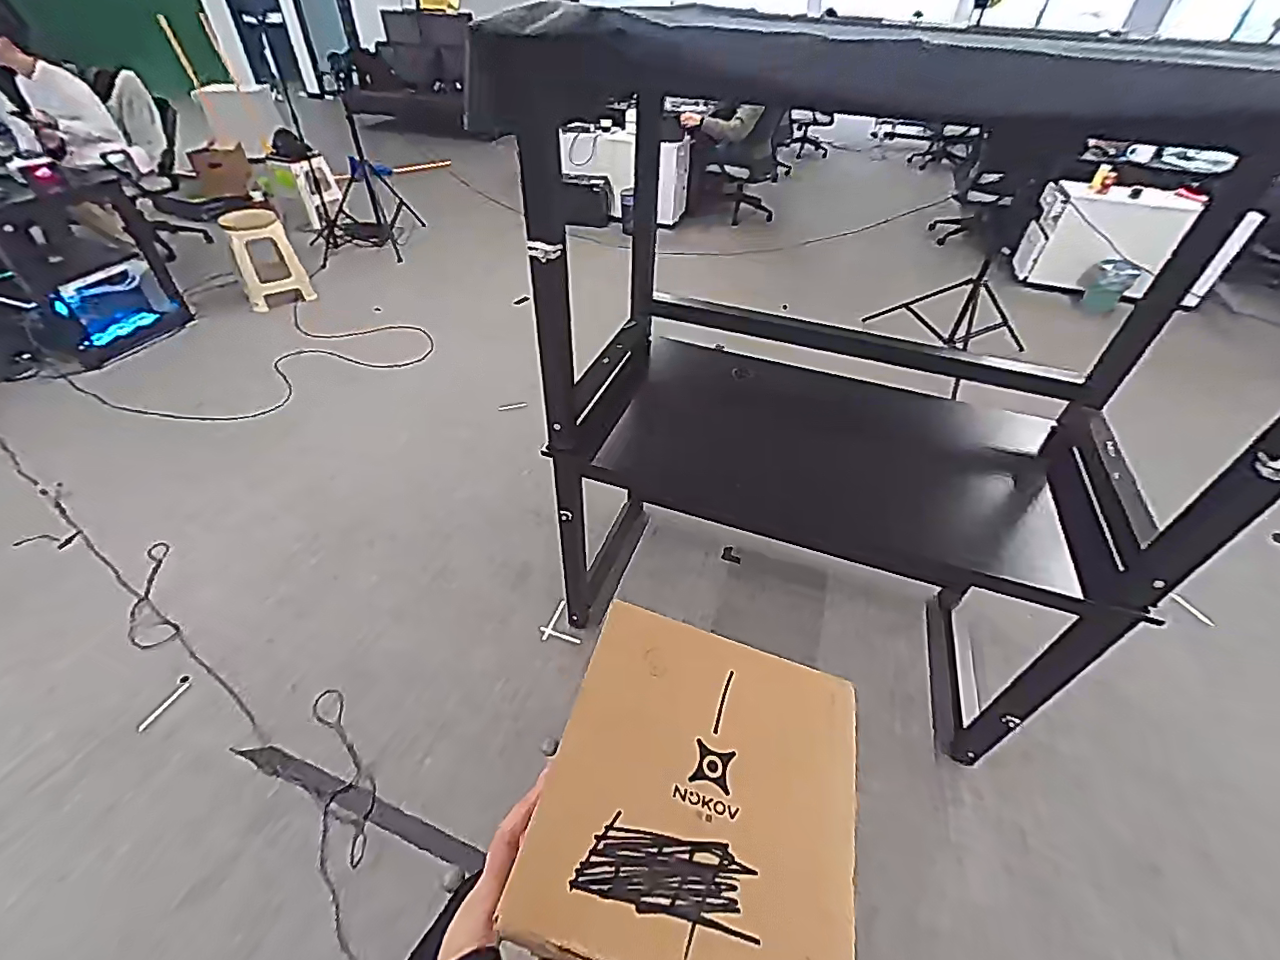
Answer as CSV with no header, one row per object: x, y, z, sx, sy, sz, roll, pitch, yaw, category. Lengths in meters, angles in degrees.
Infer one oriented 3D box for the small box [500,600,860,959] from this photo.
0.025,0.215,0.351,0.168,0.176,0.179,19,47,4,small box
